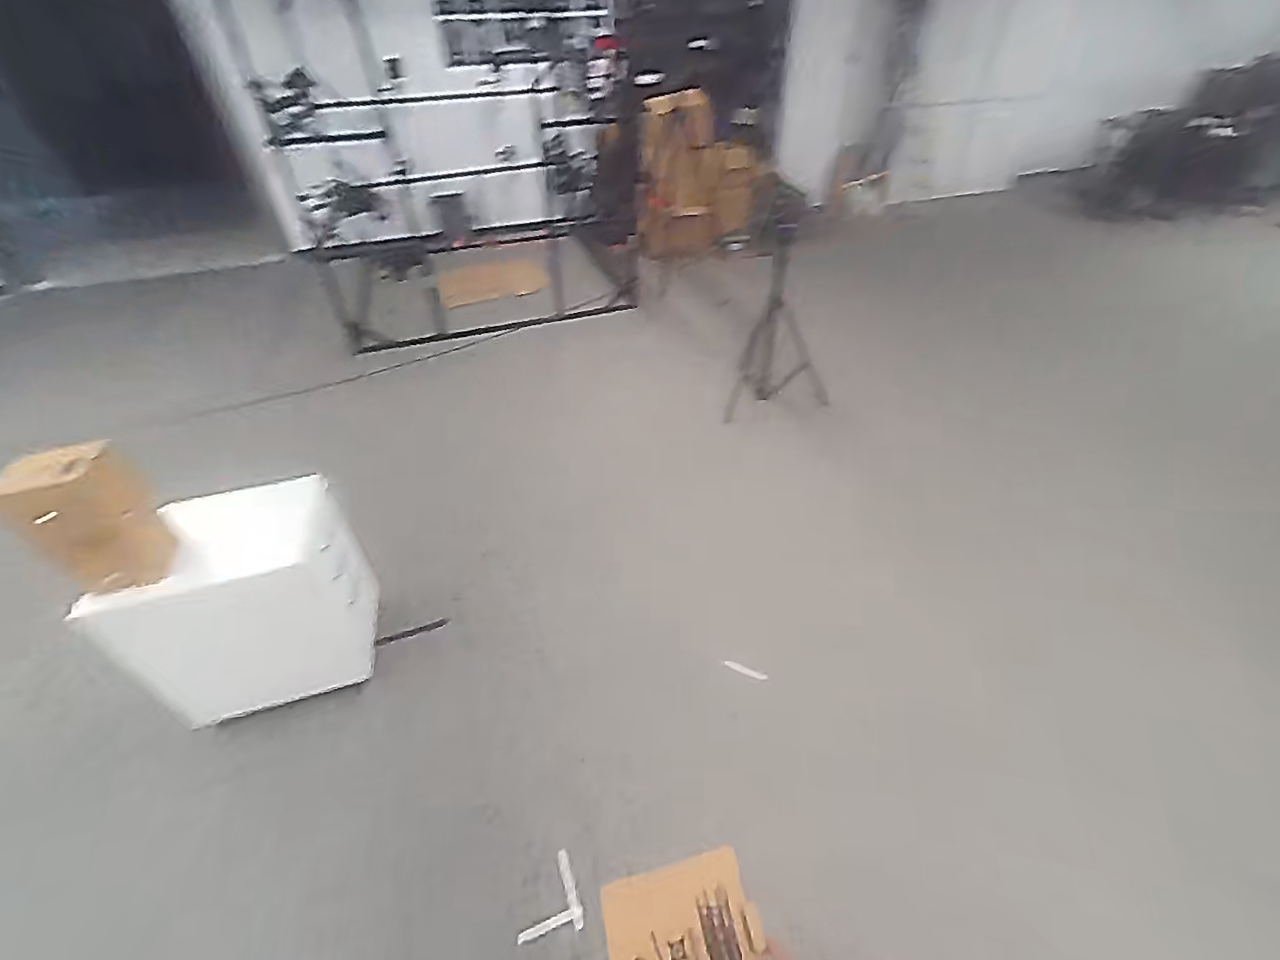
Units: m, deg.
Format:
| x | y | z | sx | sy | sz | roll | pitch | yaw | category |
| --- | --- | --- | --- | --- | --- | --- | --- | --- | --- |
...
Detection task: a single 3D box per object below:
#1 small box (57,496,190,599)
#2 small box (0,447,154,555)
| x | y | z | sx | sy | sz | roll | pitch | yaw | category |
| --- | --- | --- | --- | --- | --- | --- | --- | --- | --- |
| -1.307 | 0.172 | 1.387 | 0.168 | 0.176 | 0.179 | -14 | 41 | -12 | small box |
| -1.314 | 0.050 | 1.277 | 0.179 | 0.176 | 0.168 | -14 | 41 | -12 | small box |
